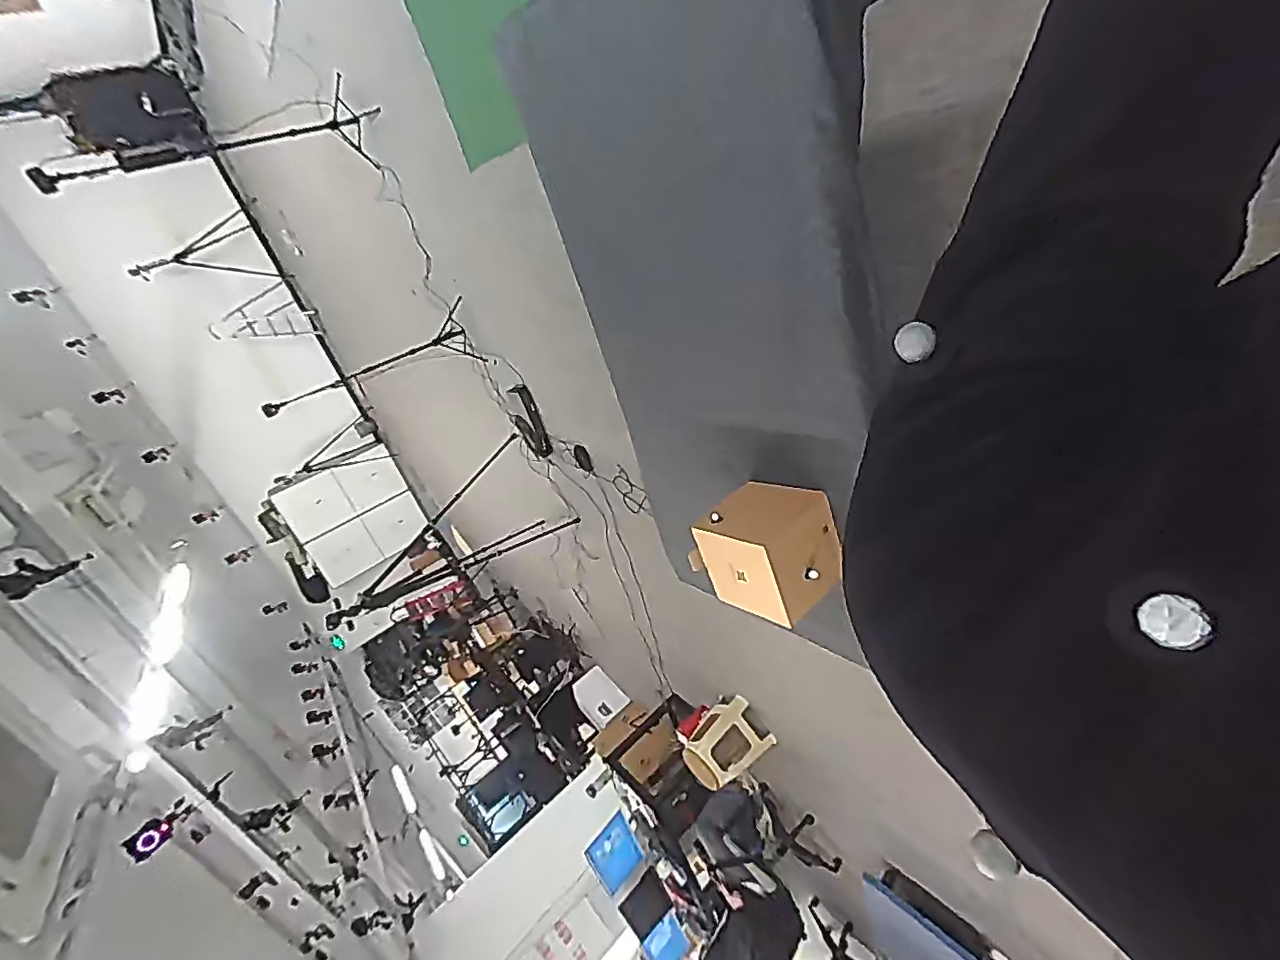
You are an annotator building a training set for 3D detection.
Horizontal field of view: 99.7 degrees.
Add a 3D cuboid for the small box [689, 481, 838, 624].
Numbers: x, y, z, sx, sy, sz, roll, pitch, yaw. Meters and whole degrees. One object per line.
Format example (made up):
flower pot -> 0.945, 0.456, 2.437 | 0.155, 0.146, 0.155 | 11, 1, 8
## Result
small box -> 0.223, 0.116, 0.946 | 0.179, 0.176, 0.168 | 10, 128, 55
